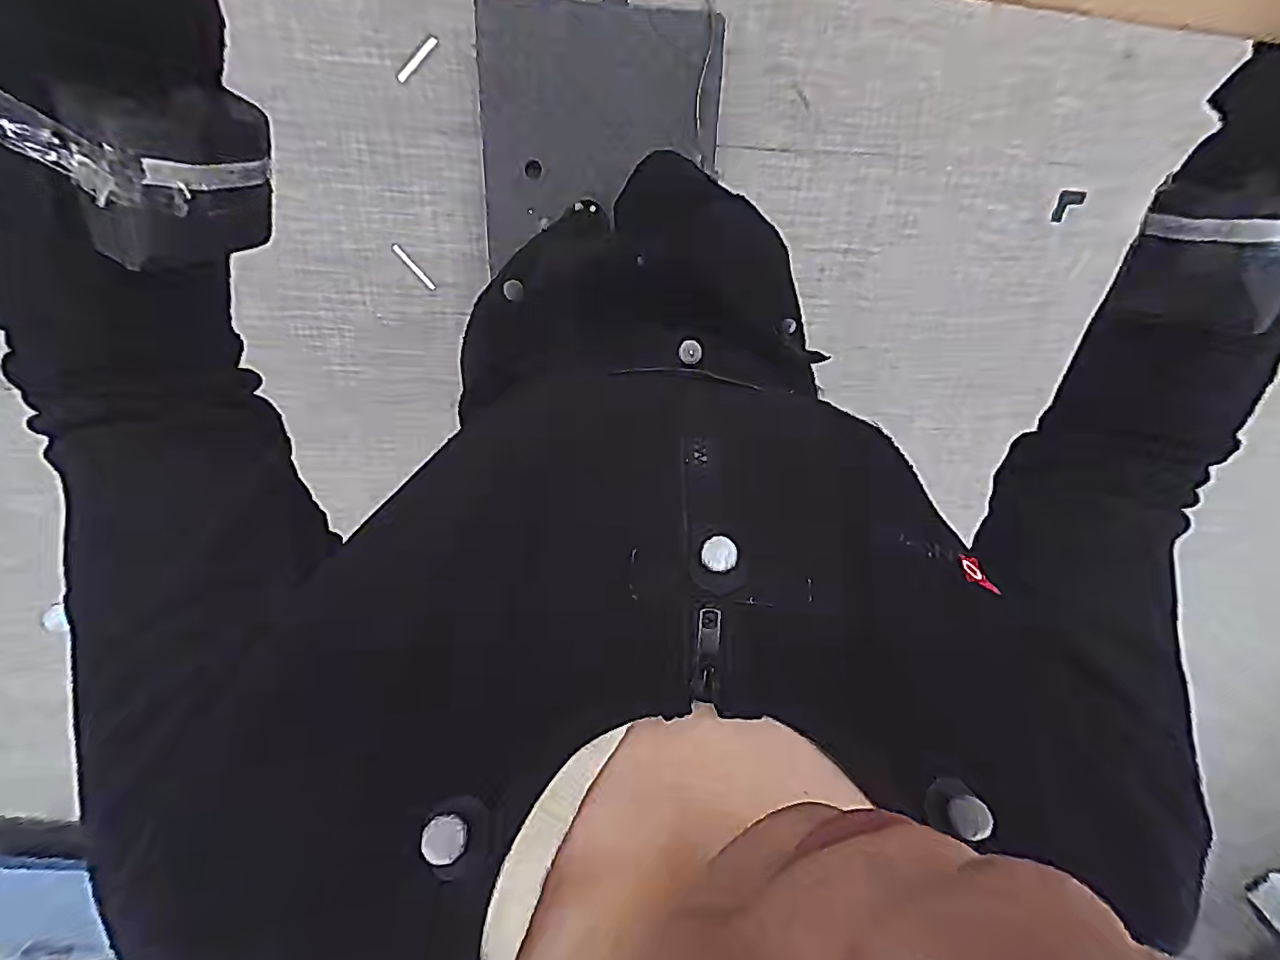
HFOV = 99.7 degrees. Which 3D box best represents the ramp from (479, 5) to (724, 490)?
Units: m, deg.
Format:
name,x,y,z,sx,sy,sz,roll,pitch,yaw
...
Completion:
name,x,y,z,sx,sy,sz,roll,pitch,yaw
ramp,-0.091,-0.446,1.231,0.509,0.206,0.991,-1,120,-4
